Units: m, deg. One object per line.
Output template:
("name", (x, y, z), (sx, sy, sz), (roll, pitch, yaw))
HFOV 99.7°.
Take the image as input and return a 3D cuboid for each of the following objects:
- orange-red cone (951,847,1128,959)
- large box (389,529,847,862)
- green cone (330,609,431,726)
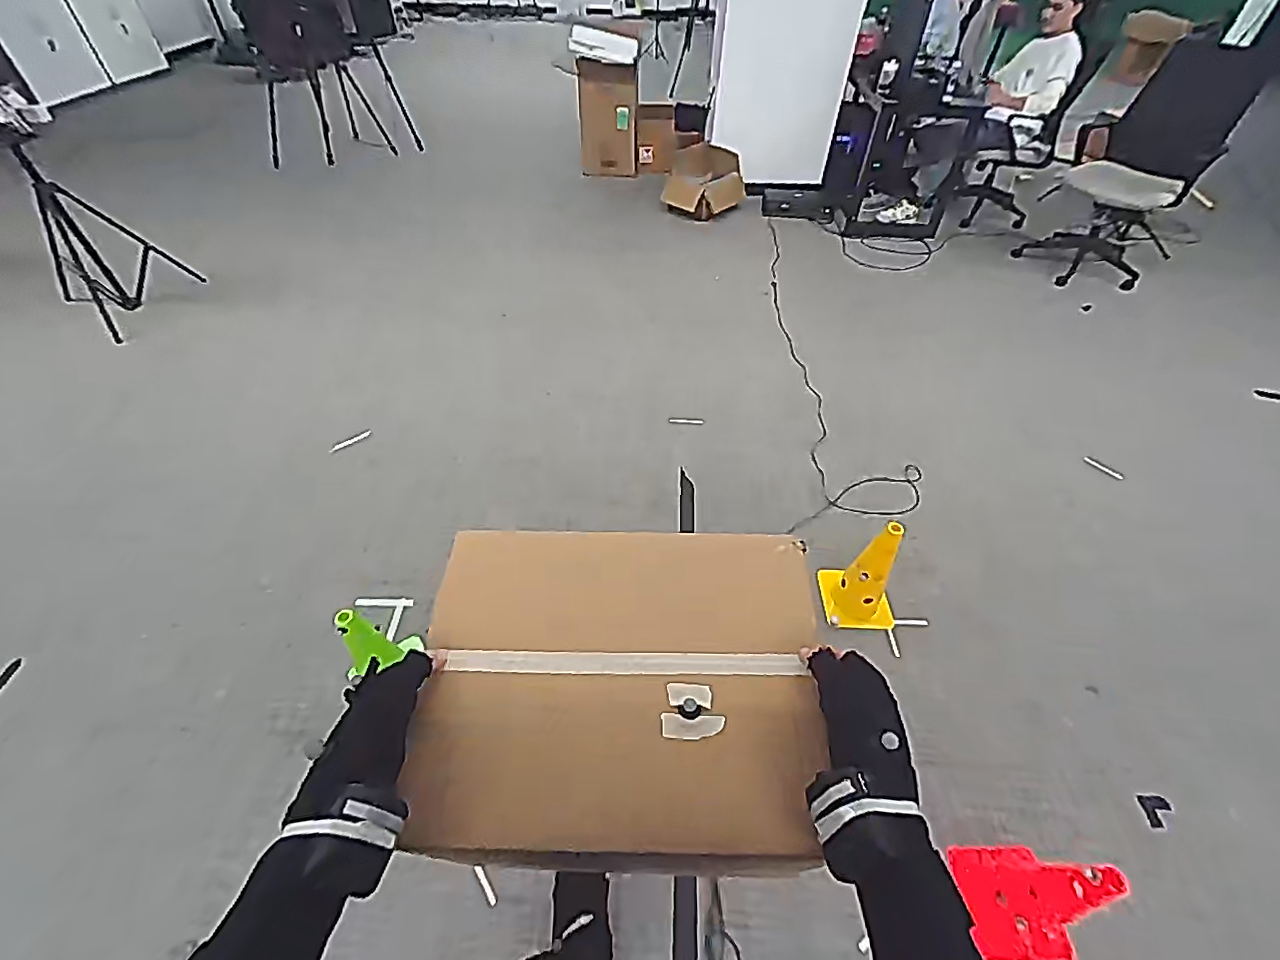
("orange-red cone", (0.793, 0.784, 1.033), (0.198, 0.360, 0.199), (2, 46, -1))
("large box", (-0.018, 0.273, 0.669), (0.408, 0.320, 0.320), (1, 52, 1))
("green cone", (-0.668, 0.421, 1.345), (0.202, 0.368, 0.200), (-27, 52, -22))
